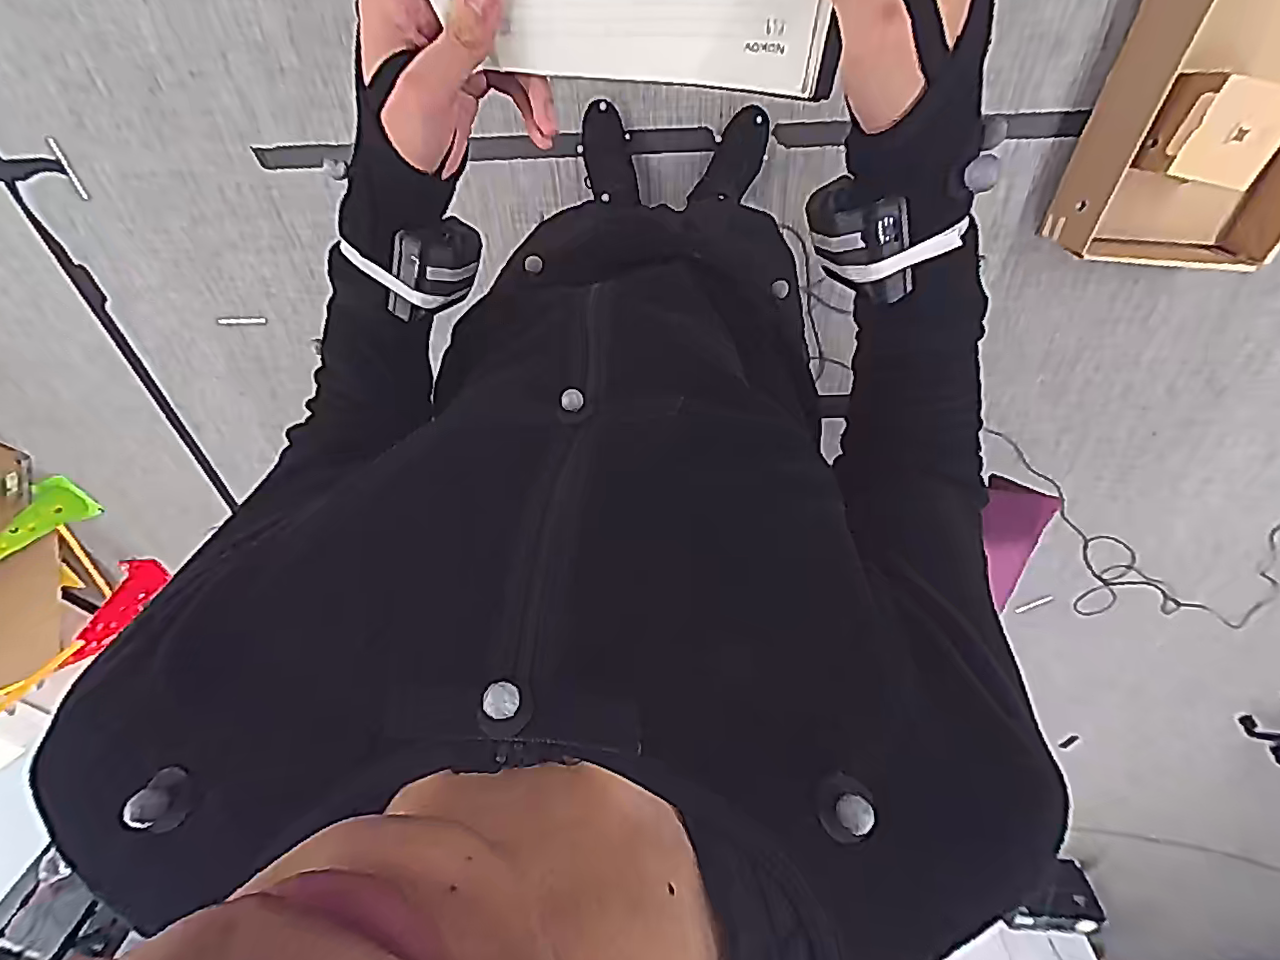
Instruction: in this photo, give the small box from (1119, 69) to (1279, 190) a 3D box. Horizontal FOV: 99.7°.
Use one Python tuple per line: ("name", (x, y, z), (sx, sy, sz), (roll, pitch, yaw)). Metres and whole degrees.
("small box", (1.137, -0.703, 1.085), (0.179, 0.176, 0.168), (11, 127, -3))
